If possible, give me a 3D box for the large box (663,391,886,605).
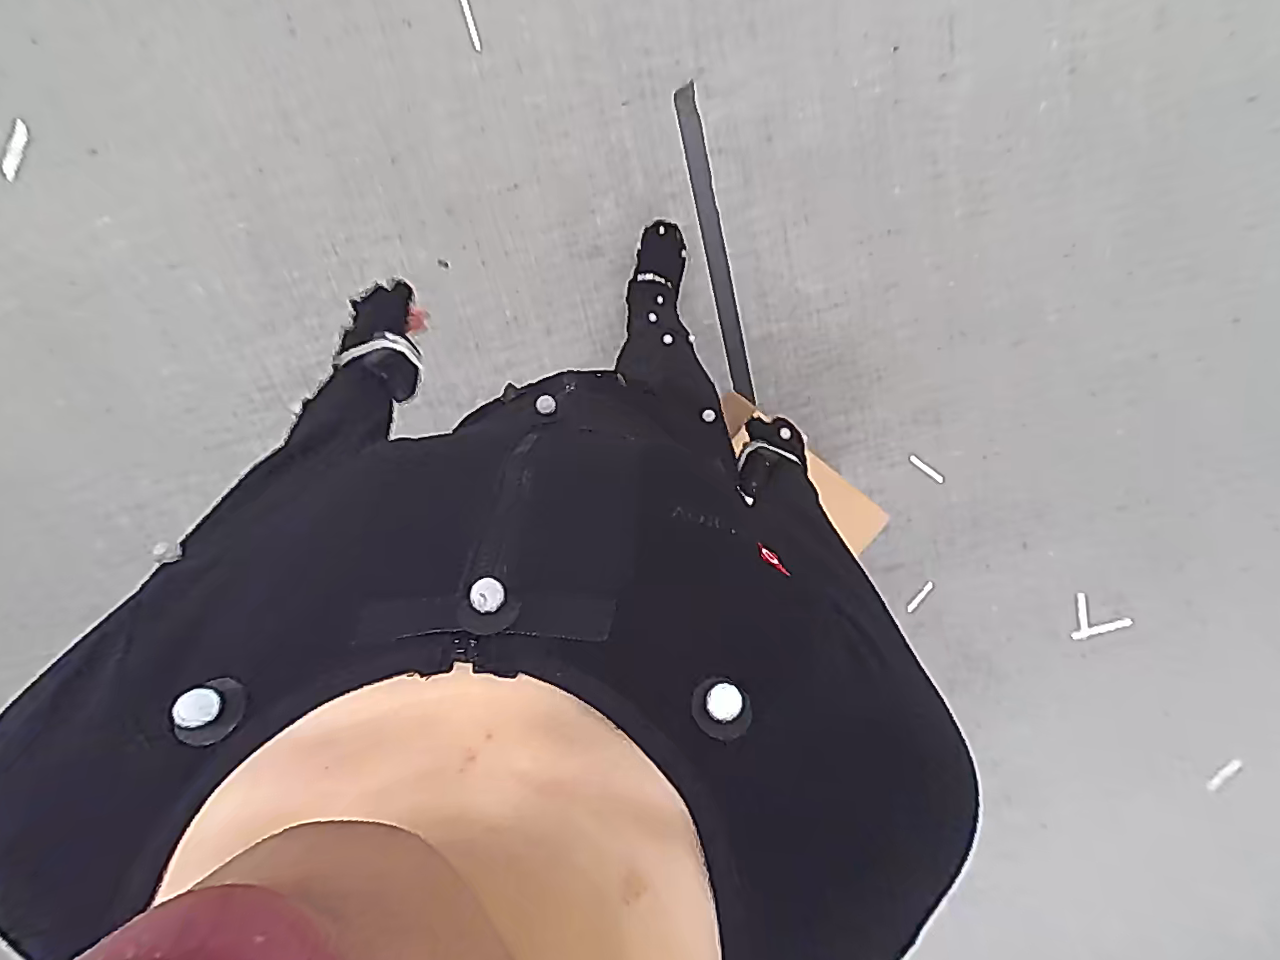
[{"bbox_3d":[0.308,0.031,1.356,0.408,0.320,0.320,35,103,-10],"label":"large box"}]
